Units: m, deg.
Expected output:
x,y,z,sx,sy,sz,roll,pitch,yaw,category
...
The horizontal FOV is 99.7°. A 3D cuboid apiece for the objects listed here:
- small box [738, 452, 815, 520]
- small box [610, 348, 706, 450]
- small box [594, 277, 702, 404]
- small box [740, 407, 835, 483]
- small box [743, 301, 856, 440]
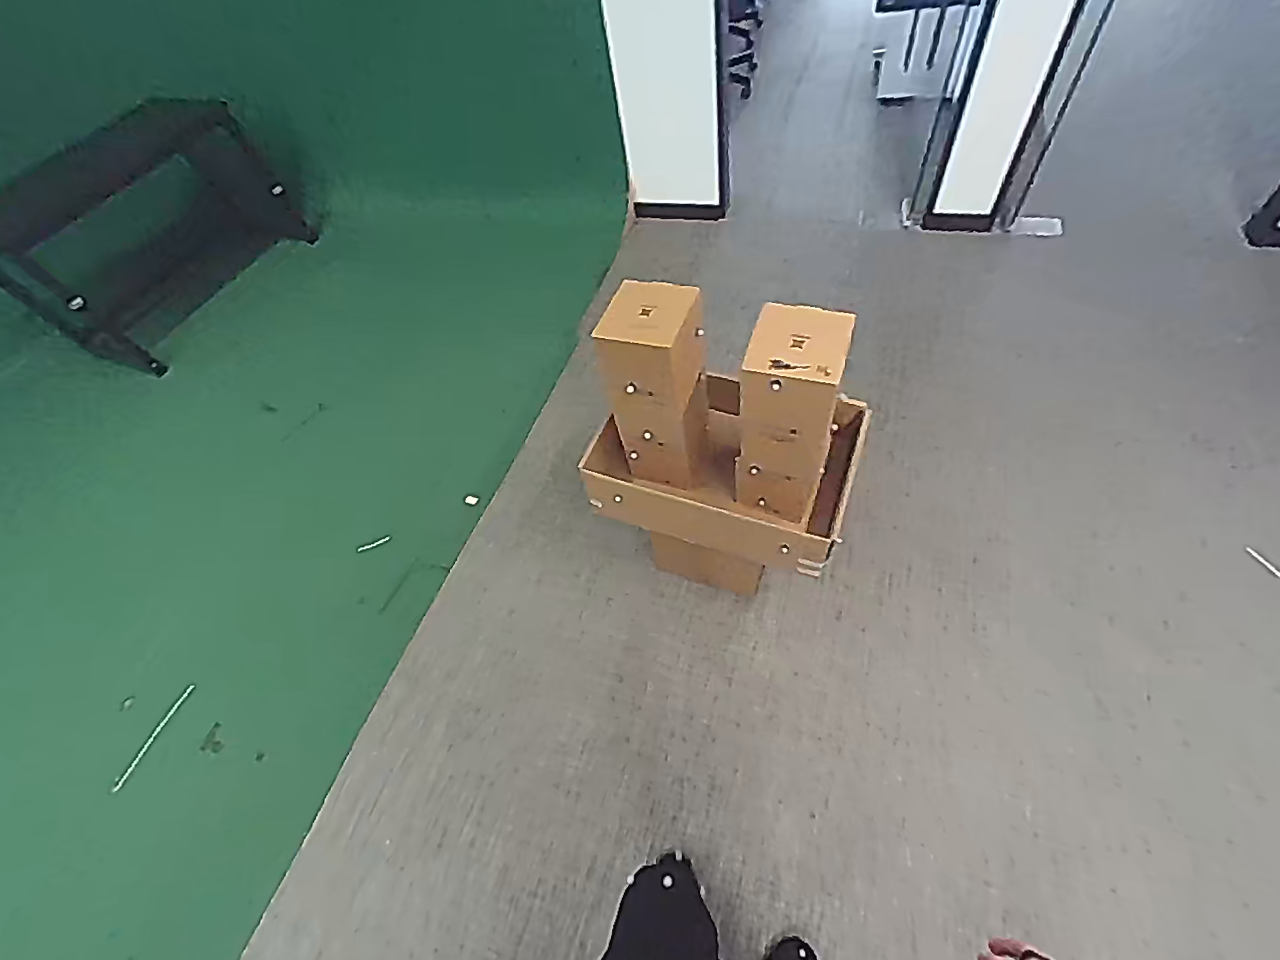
x,y,z,sx,sy,sz,roll,pitch,yaw,category
0.335,-0.035,1.289,0.168,0.176,0.179,18,62,20,small box
0.049,-0.198,1.245,0.168,0.176,0.179,14,60,19,small box
0.026,-0.286,1.110,0.168,0.176,0.179,14,60,19,small box
0.316,-0.118,1.148,0.168,0.176,0.179,14,60,17,small box
0.290,-0.203,1.010,0.168,0.176,0.179,13,60,18,small box
